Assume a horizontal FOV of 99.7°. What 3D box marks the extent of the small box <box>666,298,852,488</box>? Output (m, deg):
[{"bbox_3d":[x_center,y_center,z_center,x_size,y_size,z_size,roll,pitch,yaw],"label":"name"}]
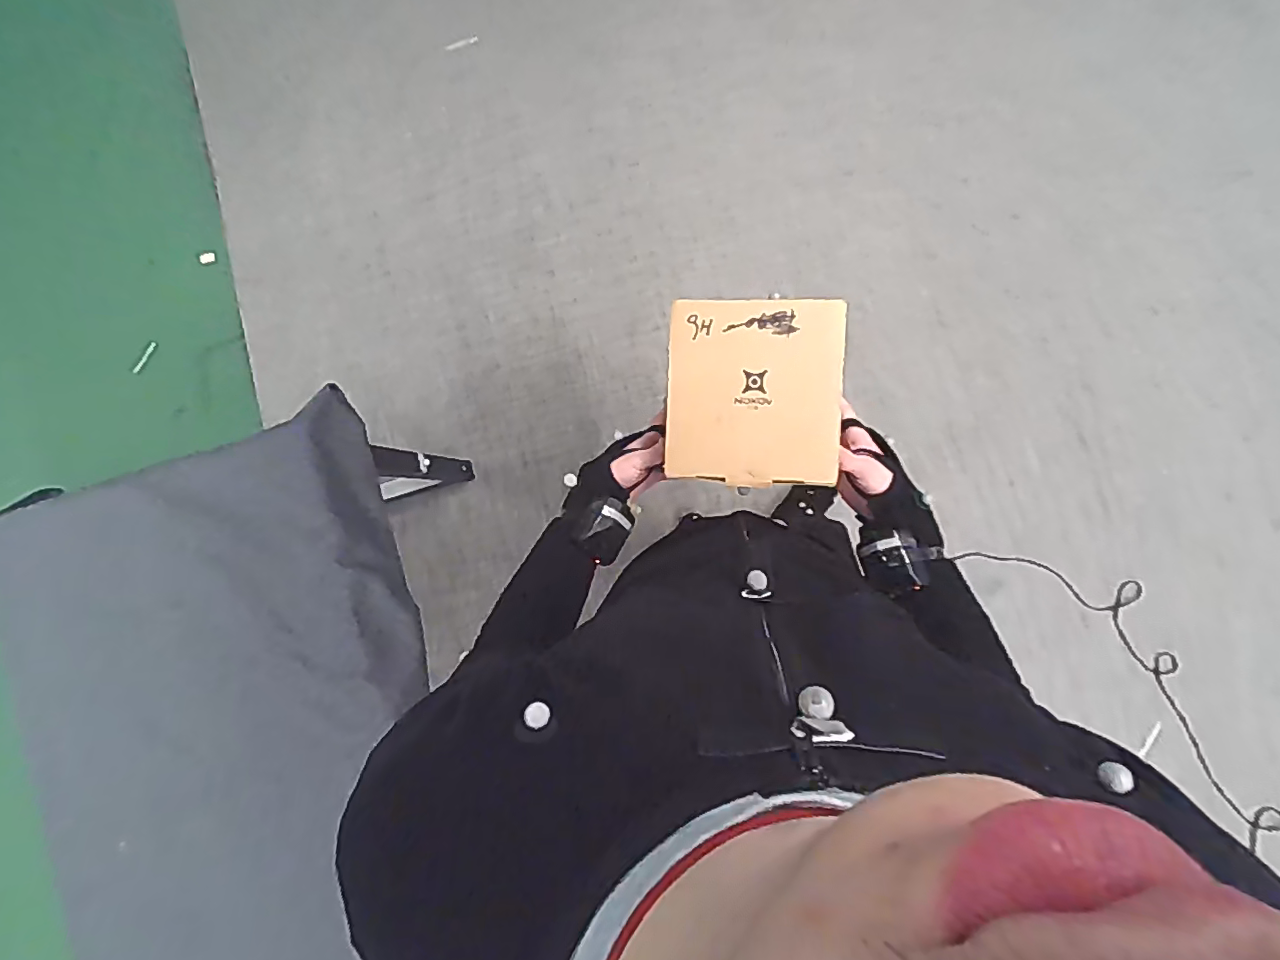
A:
[{"bbox_3d":[0.121,-0.088,0.594,0.168,0.176,0.179,3,92,7],"label":"small box"}]
